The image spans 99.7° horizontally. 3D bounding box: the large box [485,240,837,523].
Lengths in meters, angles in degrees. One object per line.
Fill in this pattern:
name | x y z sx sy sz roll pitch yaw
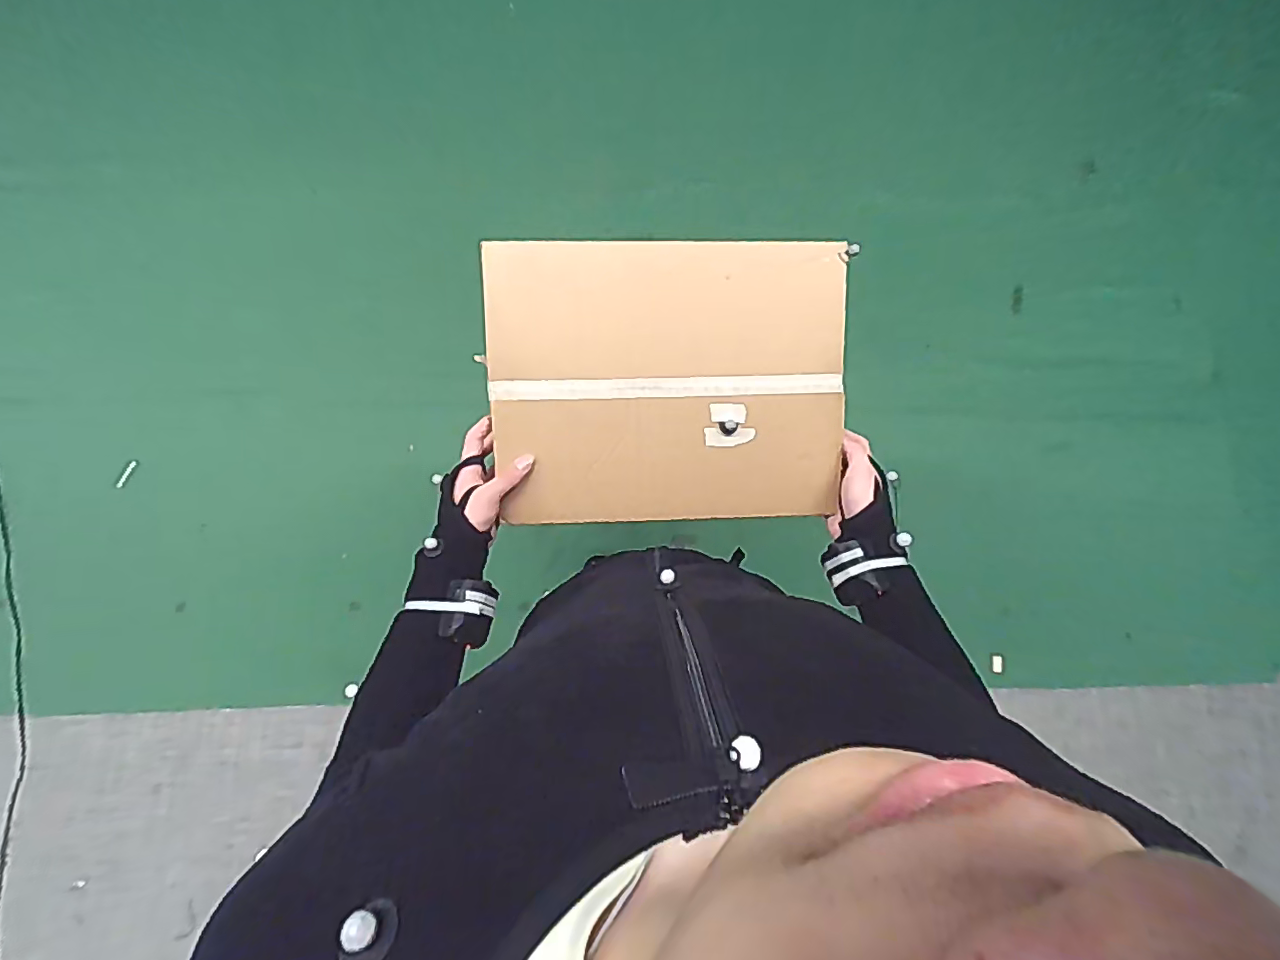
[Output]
large box | 0.020 -0.133 0.771 0.408 0.320 0.320 -2 99 -4
